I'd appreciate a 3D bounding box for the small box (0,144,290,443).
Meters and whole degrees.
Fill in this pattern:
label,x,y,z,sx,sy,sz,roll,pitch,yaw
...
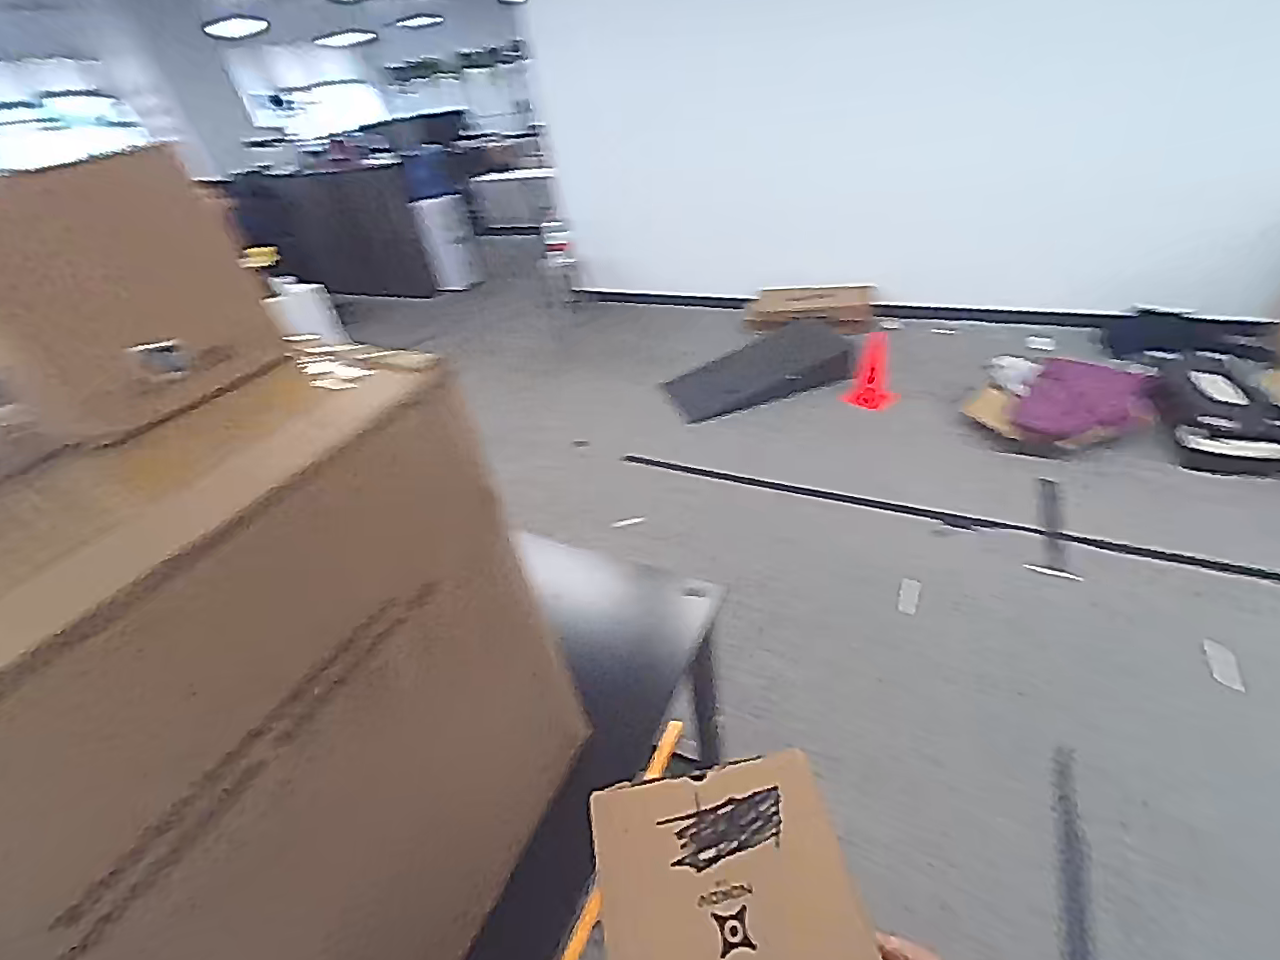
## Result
label,x,y,z,sx,sy,sz,roll,pitch,yaw
small box,-0.435,-0.147,0.429,0.179,0.176,0.168,12,44,27
